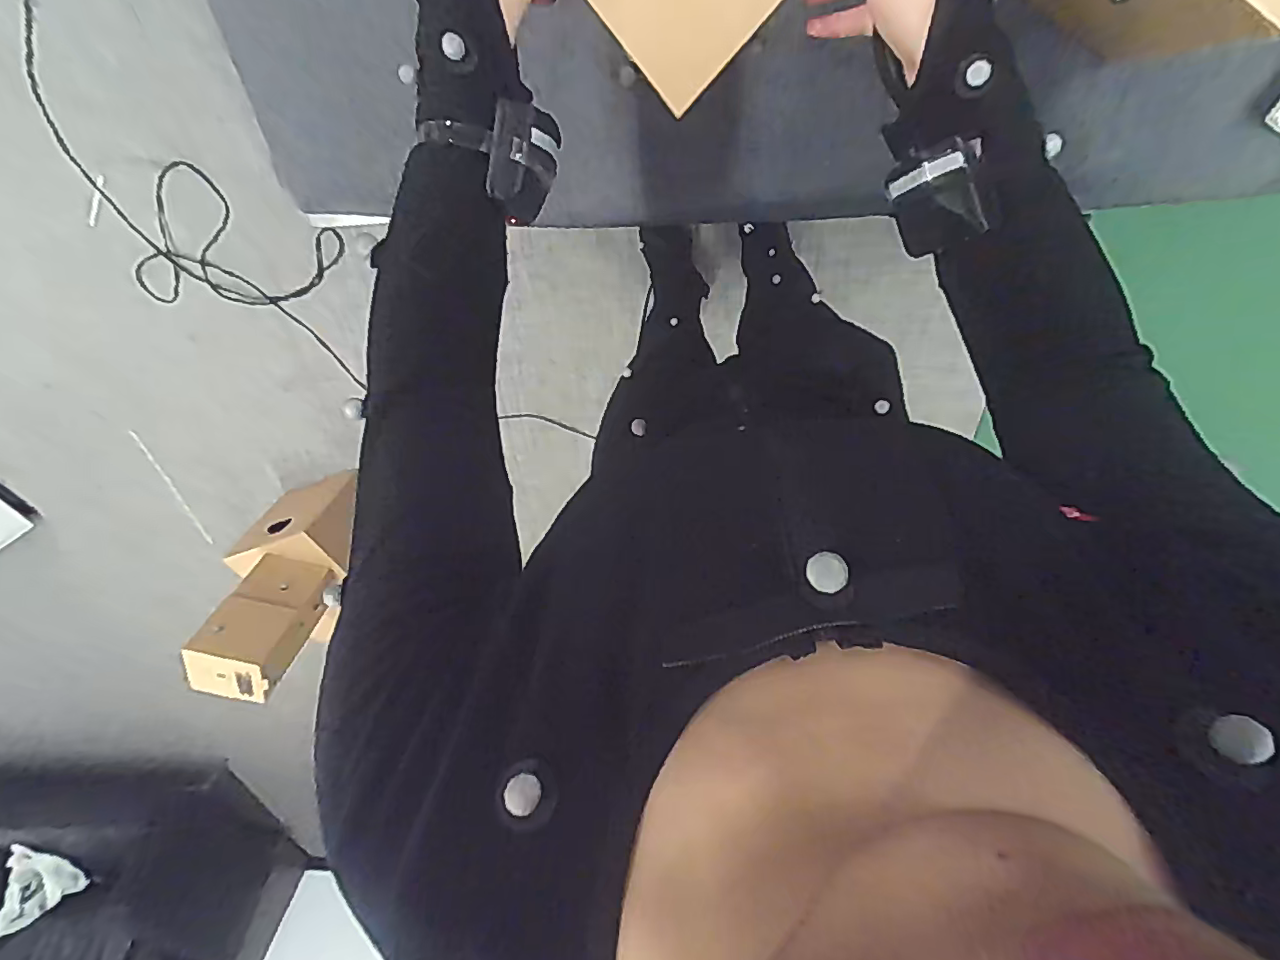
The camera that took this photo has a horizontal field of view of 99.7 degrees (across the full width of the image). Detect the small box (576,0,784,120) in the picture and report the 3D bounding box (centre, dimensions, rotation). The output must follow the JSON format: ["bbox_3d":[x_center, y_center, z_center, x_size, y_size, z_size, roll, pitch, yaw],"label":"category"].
[{"bbox_3d":[0.027,-0.402,0.387,0.168,0.176,0.179,-38,114,25],"label":"small box"}]

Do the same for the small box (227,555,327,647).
[{"bbox_3d":[-0.989,0.329,1.492,0.179,0.176,0.168,16,124,-10],"label":"small box"}]
